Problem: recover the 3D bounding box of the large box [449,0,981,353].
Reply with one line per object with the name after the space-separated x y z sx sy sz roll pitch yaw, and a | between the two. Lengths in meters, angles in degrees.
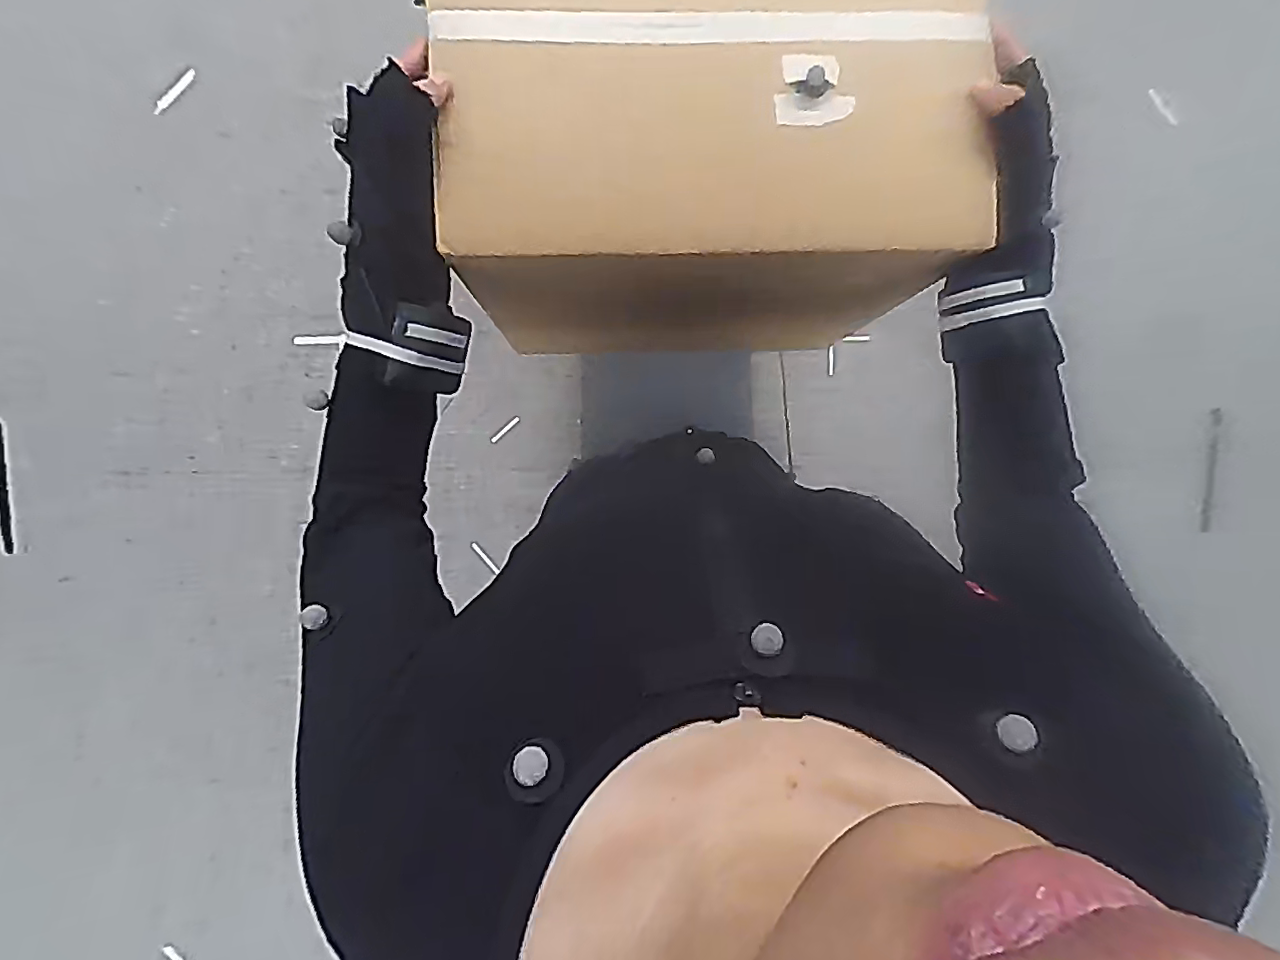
0.050 -0.324 0.555 0.408 0.320 0.320 -2 90 -3 | large box
